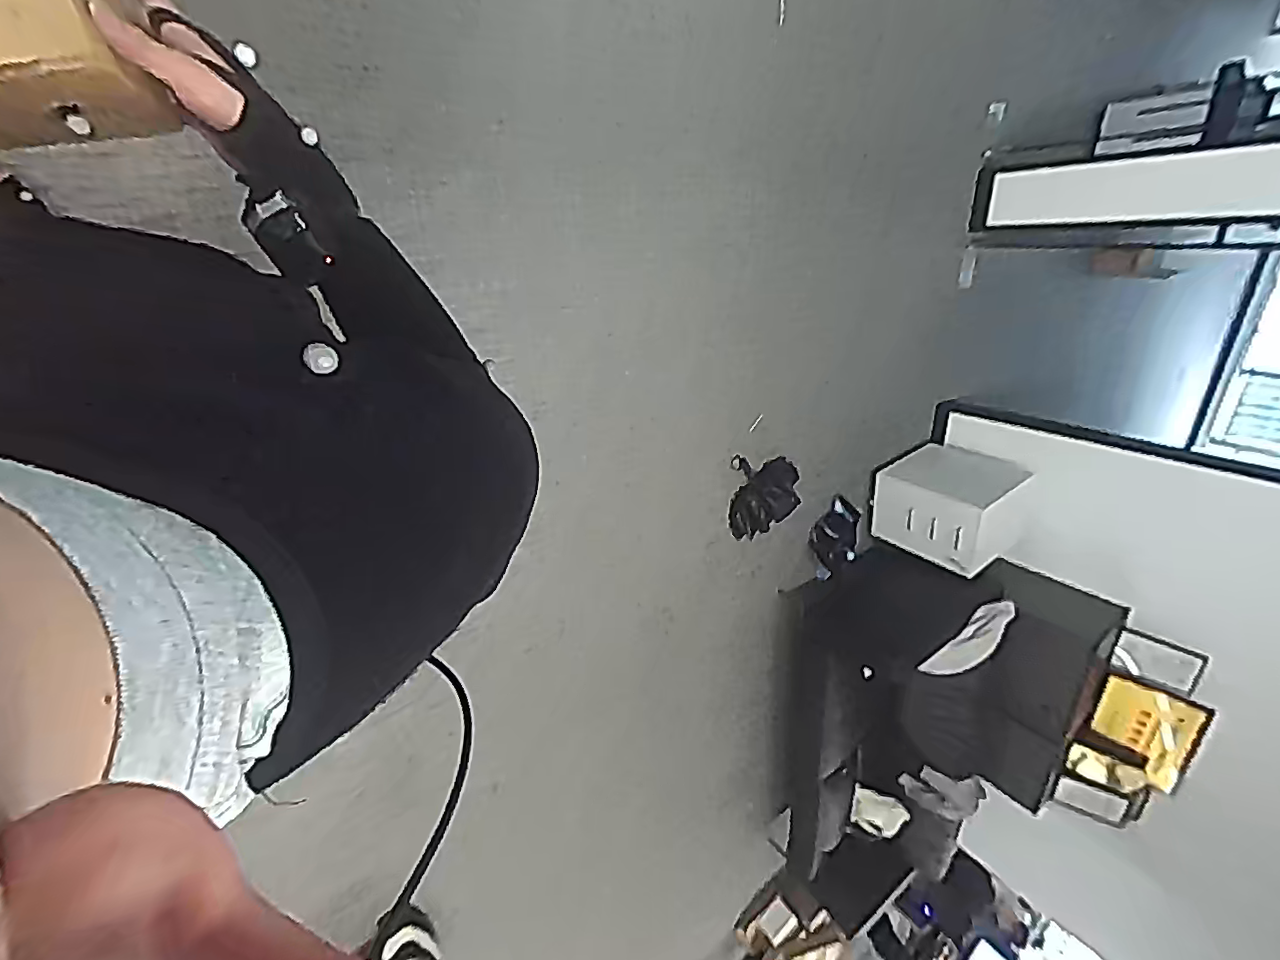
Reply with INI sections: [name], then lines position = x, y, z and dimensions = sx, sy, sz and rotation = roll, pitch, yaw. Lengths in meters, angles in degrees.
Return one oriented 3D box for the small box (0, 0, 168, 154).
[small box]
position = -0.439, -0.309, 0.323
dimensions = 0.168, 0.176, 0.179
rotation = -20, 114, -19
